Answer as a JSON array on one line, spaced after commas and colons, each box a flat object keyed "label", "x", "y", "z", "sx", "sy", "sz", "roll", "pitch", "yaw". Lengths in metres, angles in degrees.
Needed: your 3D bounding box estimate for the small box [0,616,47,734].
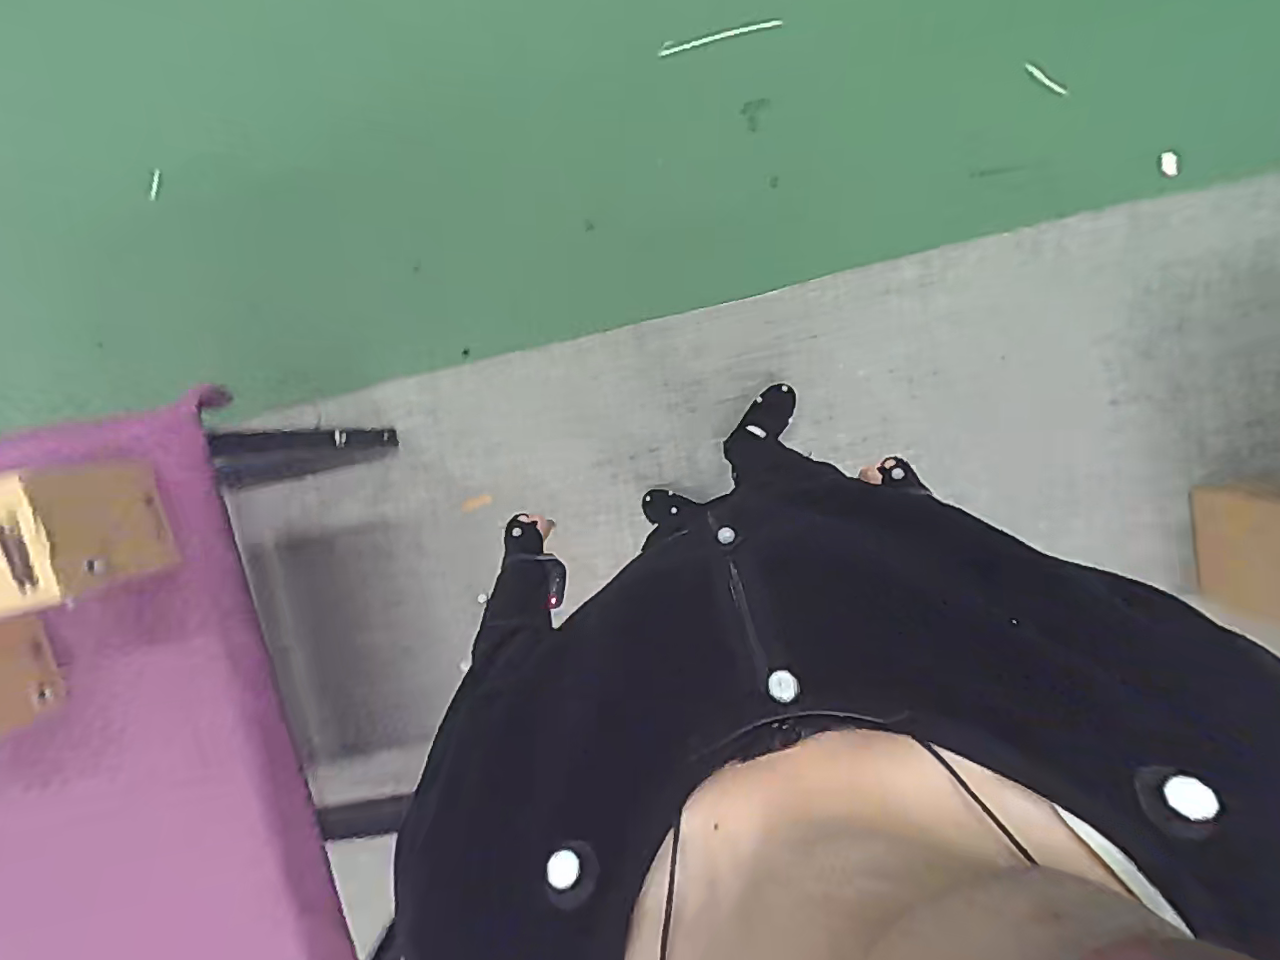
[{"label": "small box", "x": -1.039, "y": 0.314, "z": 0.791, "sx": 0.179, "sy": 0.176, "sz": 0.168, "roll": -13, "pitch": 95, "yaw": 5}]
